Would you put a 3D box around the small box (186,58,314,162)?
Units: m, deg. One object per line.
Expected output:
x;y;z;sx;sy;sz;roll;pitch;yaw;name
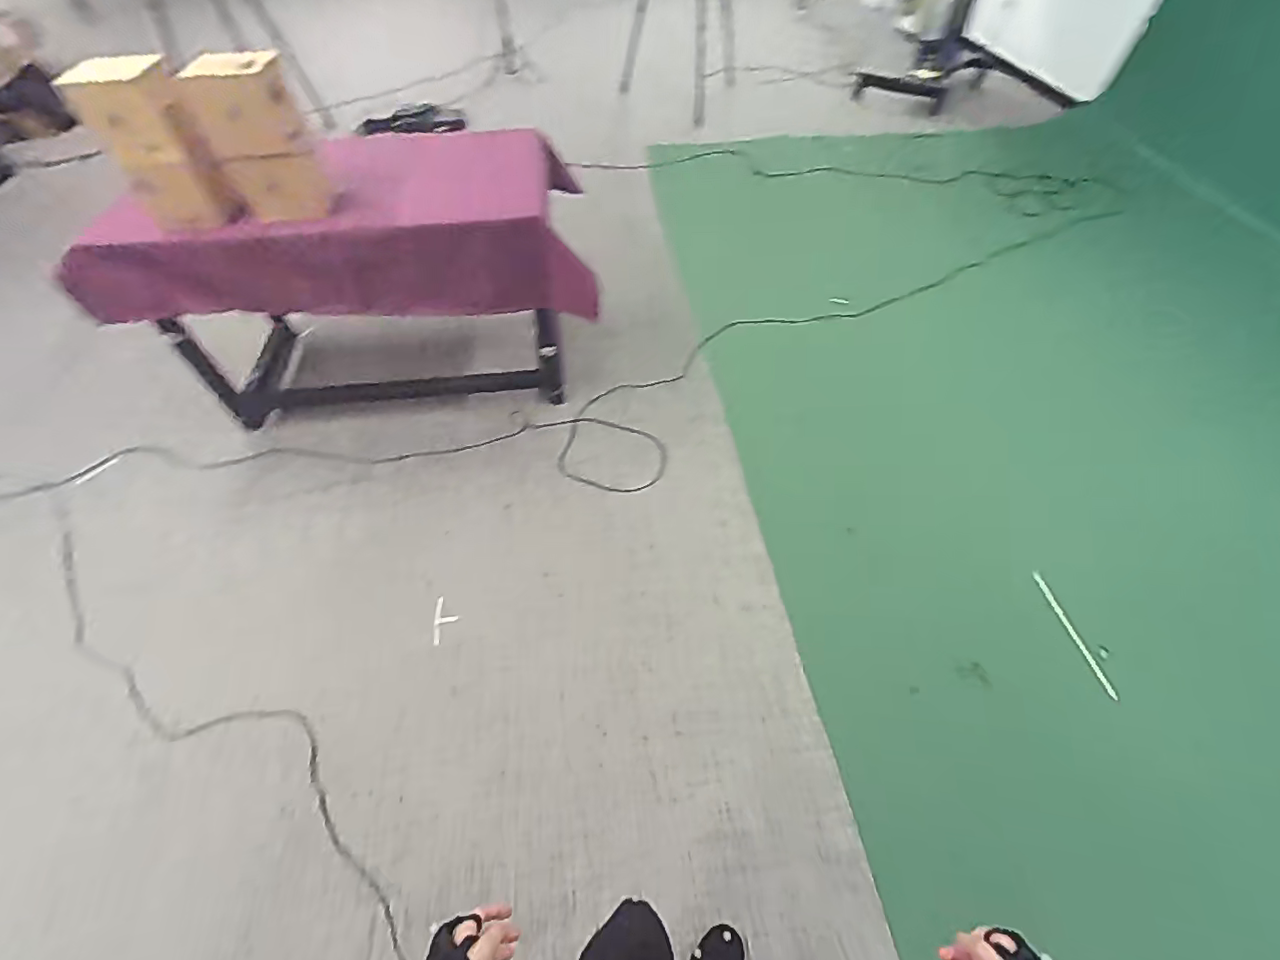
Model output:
-0.942;-0.907;1.330;0.179;0.176;0.168;-6;52;-3;small box

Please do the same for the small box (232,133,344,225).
-0.941;-0.810;1.464;0.179;0.176;0.168;-7;53;-4;small box

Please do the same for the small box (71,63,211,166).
-1.202;-0.887;1.322;0.168;0.176;0.179;-9;52;-6;small box
